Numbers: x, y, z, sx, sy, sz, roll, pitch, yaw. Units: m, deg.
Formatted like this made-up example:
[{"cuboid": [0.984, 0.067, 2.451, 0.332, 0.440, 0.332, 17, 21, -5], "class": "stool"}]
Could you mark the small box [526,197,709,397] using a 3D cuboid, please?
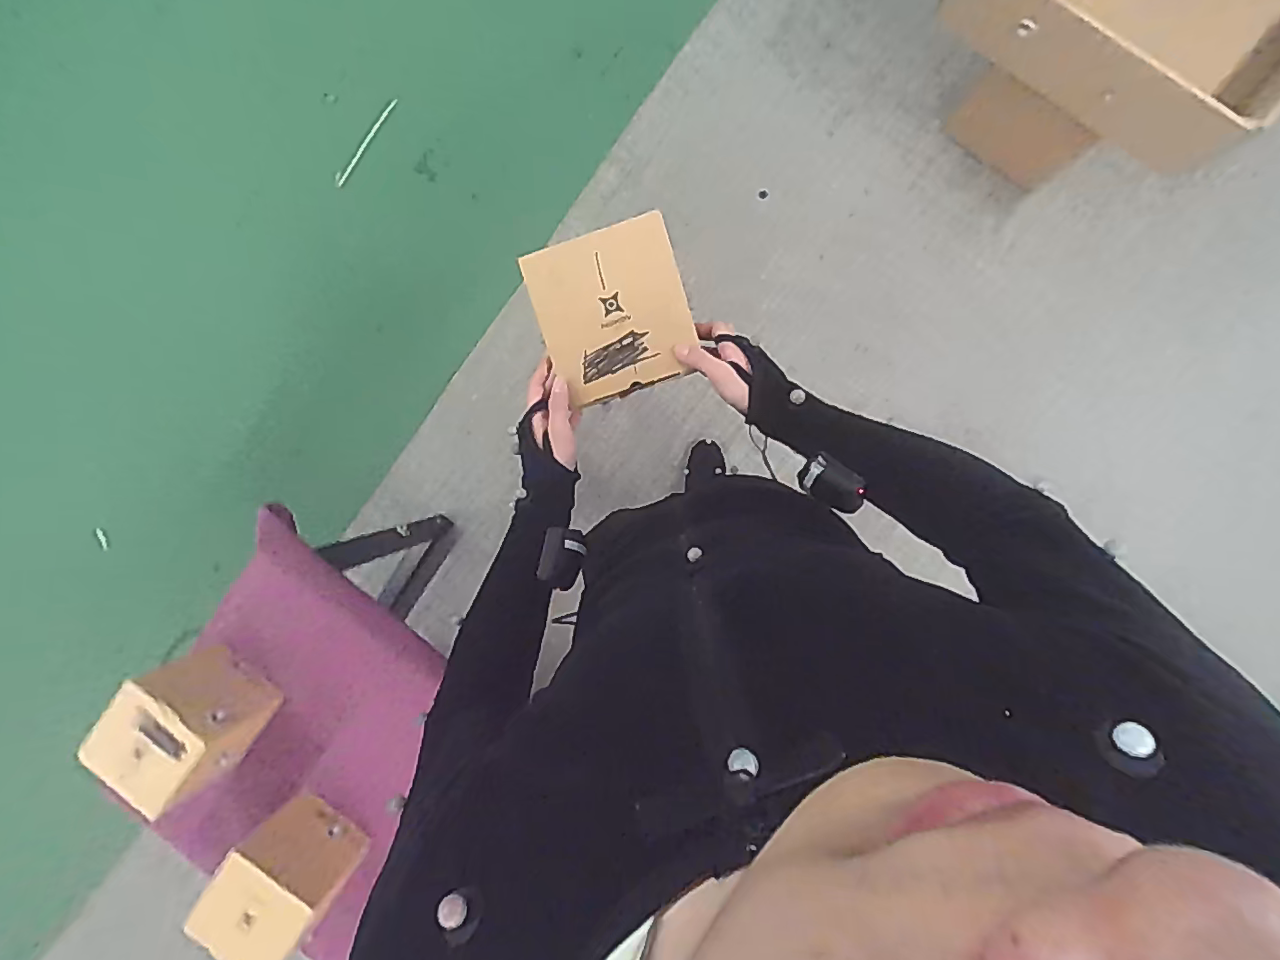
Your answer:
[{"cuboid": [-0.020, -0.209, 0.666, 0.168, 0.176, 0.179, -16, 98, 4], "class": "small box"}]

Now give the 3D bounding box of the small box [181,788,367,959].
[{"cuboid": [-0.615, 0.688, 0.932, 0.168, 0.176, 0.179, 35, 95, 2], "class": "small box"}]
